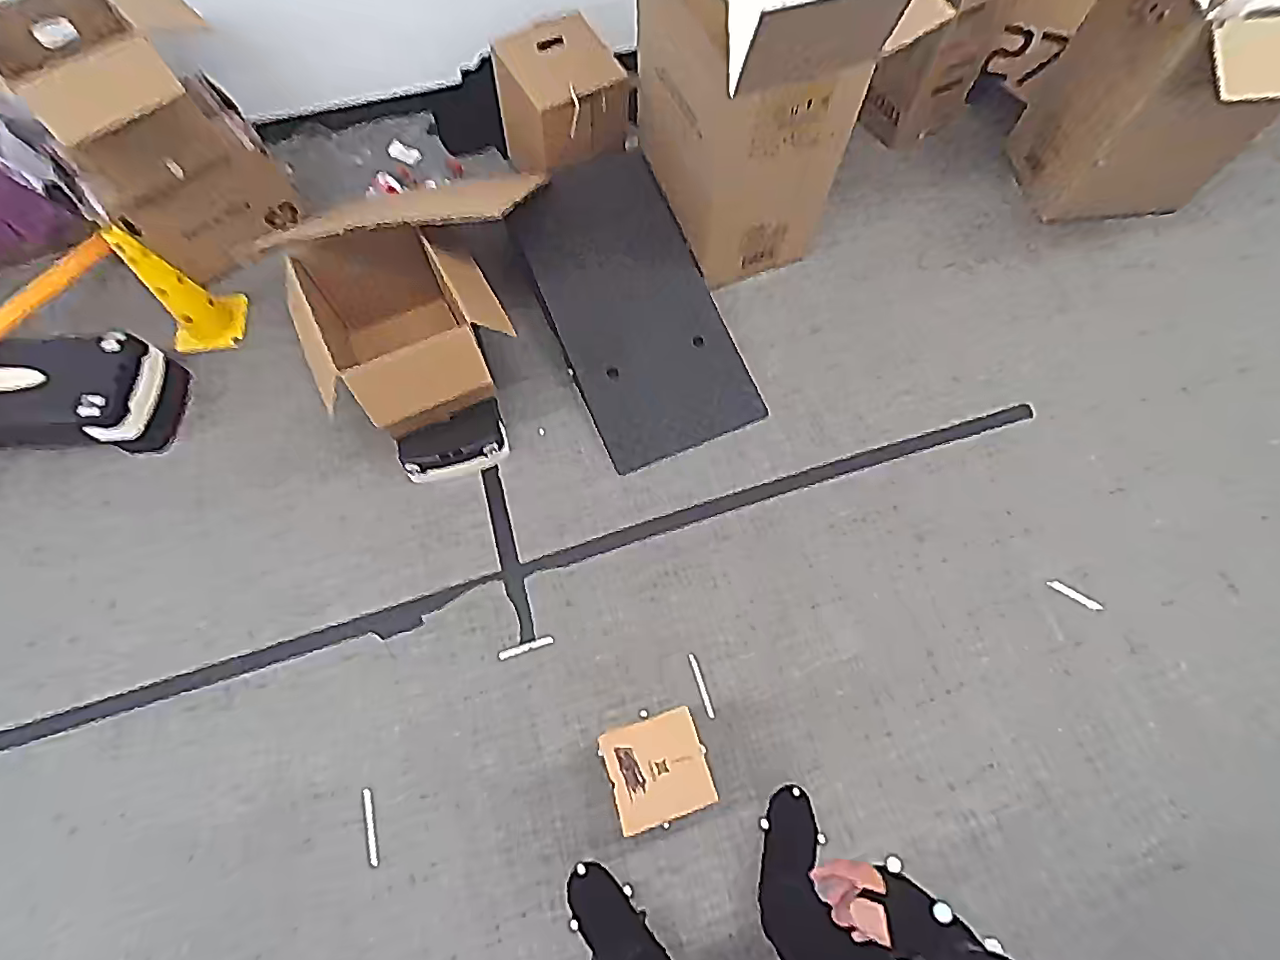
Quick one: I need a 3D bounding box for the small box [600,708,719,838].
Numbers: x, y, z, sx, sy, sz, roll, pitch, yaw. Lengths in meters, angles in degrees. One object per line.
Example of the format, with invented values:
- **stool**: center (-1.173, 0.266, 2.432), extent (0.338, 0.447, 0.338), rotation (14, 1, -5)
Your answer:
- **small box**: center (0.032, 0.545, 1.022), extent (0.179, 0.176, 0.168), rotation (-16, 67, -8)
